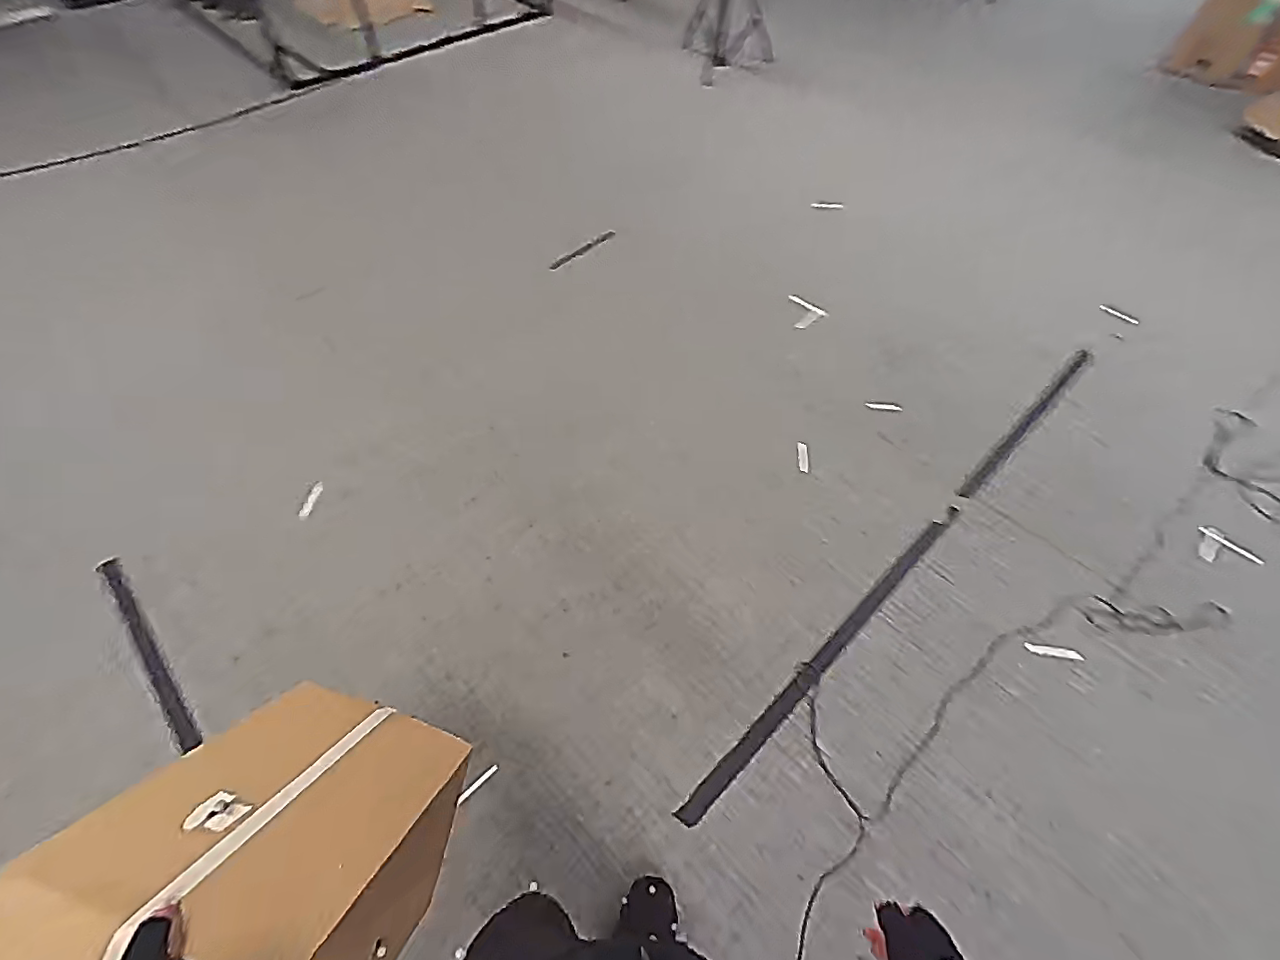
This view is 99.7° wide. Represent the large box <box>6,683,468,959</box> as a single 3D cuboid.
[{"bbox_3d":[-0.497,0.557,0.738,0.320,0.408,0.320,18,99,7],"label":"large box"}]
